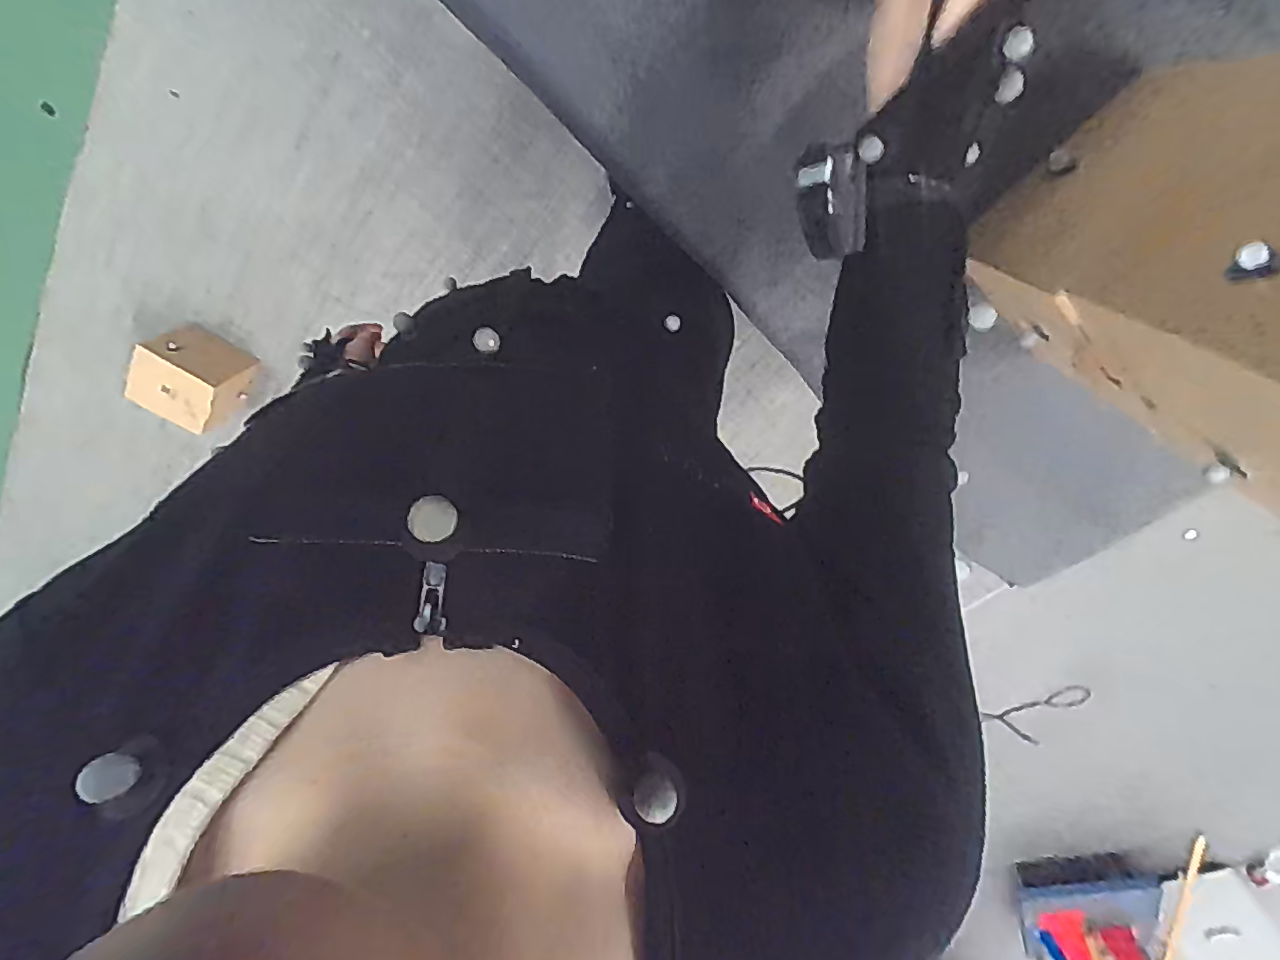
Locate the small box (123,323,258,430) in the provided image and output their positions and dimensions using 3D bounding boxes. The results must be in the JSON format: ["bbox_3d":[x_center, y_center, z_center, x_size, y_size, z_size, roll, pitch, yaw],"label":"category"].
[{"bbox_3d":[-1.092,-0.262,1.323,0.179,0.176,0.168,33,120,-18],"label":"small box"}]

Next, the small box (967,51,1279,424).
[{"bbox_3d":[0.396,-0.184,0.423,0.168,0.176,0.179,36,119,-20],"label":"small box"}]

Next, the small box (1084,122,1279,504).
[{"bbox_3d":[0.392,-0.091,0.289,0.168,0.176,0.179,39,117,-21],"label":"small box"}]
